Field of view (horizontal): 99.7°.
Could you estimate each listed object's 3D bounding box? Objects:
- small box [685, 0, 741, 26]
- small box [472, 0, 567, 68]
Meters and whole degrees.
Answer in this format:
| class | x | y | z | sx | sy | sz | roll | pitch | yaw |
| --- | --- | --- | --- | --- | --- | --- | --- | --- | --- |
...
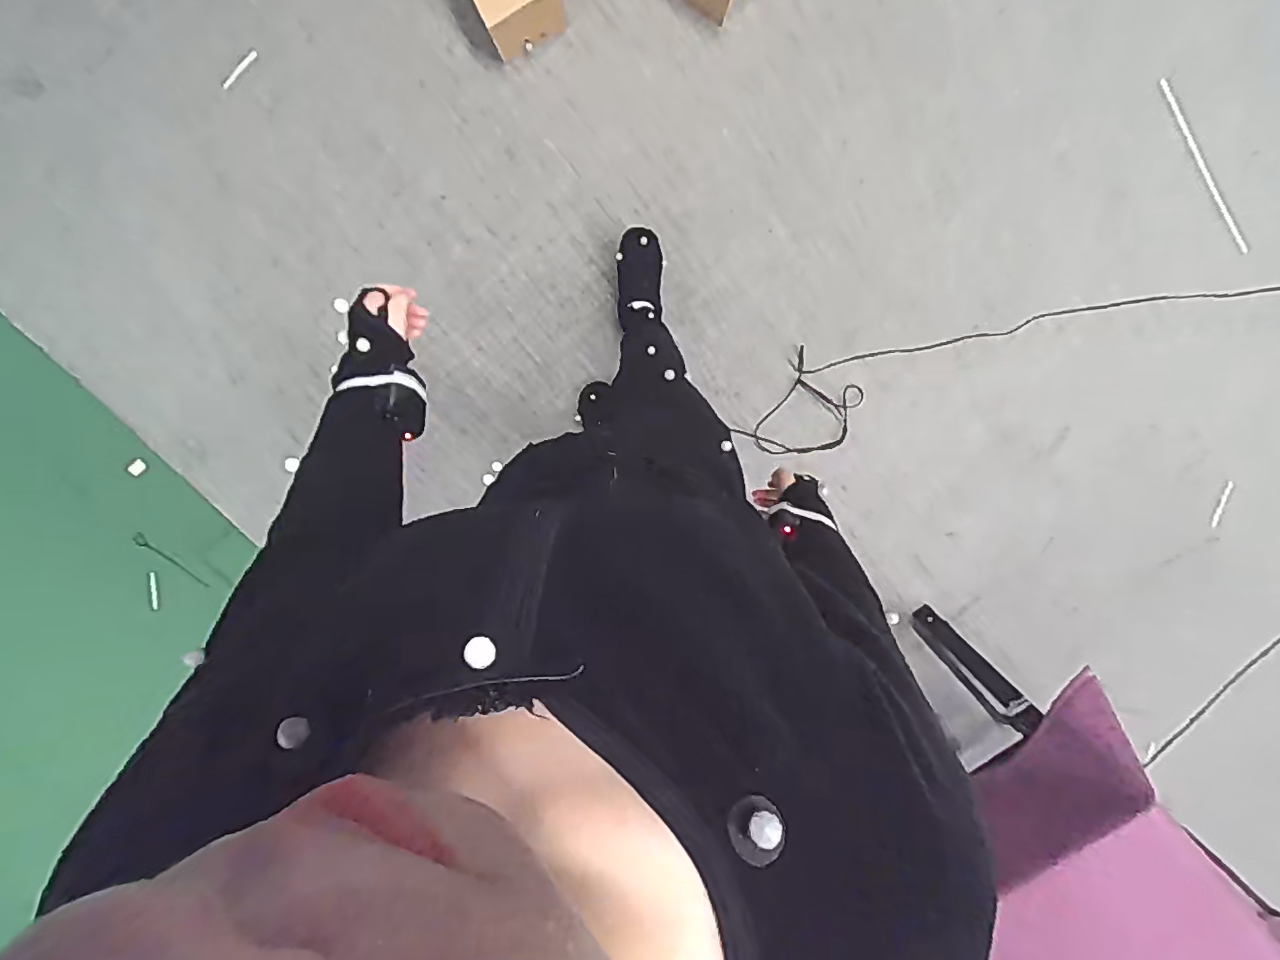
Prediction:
| class | x | y | z | sx | sy | sz | roll | pitch | yaw |
| --- | --- | --- | --- | --- | --- | --- | --- | --- | --- |
| small box | 0.158 | -1.098 | 1.112 | 0.179 | 0.176 | 0.168 | 31 | 104 | -9 |
| small box | -0.268 | -1.021 | 1.127 | 0.168 | 0.176 | 0.179 | -25 | 104 | 7 |
